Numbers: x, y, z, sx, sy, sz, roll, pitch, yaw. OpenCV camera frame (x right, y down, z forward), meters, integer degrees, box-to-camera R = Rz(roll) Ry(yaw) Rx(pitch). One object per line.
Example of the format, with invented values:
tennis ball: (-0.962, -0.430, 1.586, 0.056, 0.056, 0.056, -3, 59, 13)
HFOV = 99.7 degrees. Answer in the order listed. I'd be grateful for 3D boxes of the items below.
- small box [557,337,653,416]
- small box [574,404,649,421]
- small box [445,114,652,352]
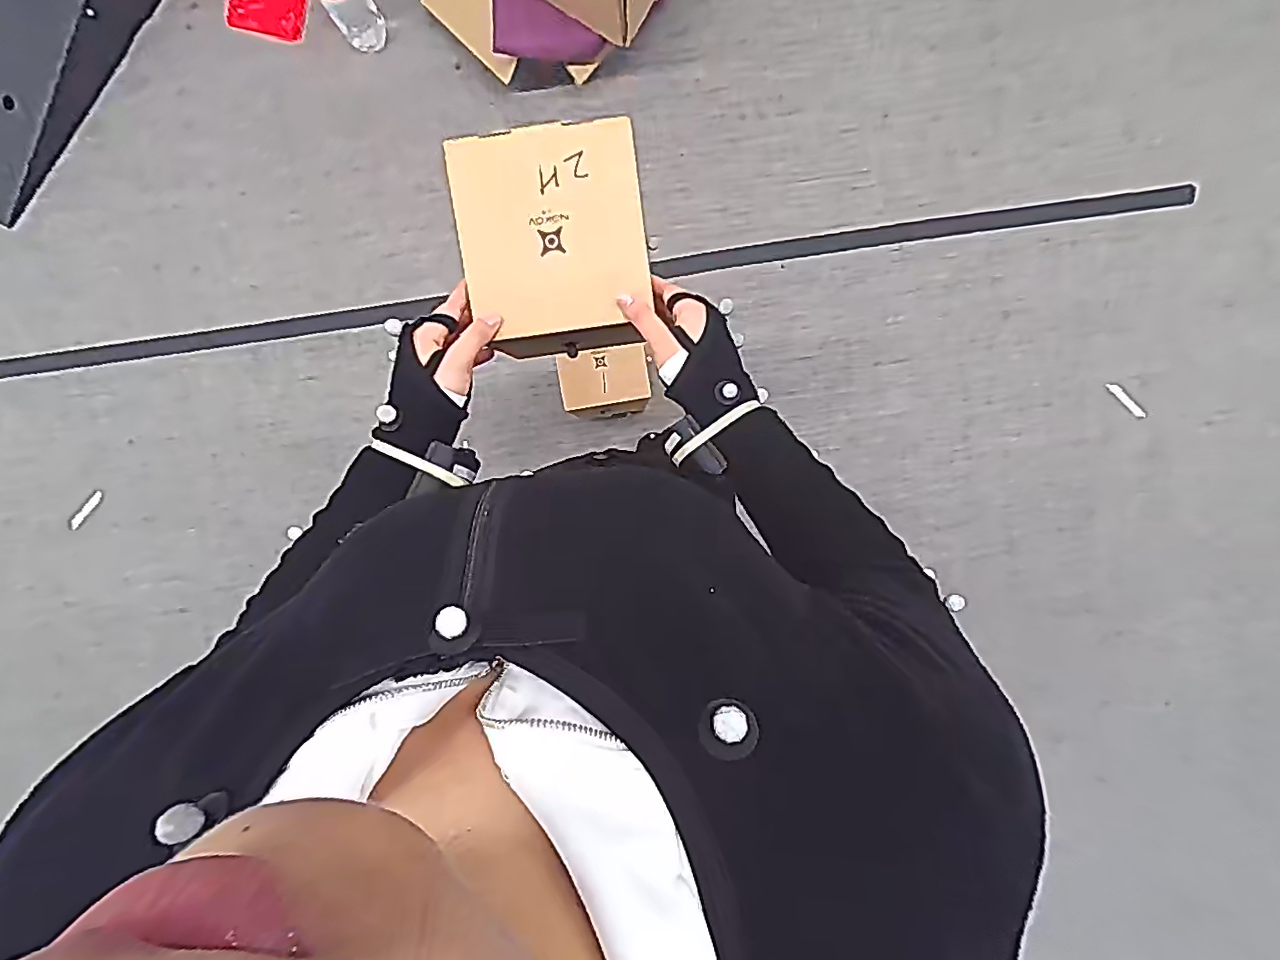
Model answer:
small box: (-0.070, -0.228, 1.069, 0.168, 0.176, 0.179, -9, 94, 1)
small box: (-0.074, -0.238, 1.234, 0.168, 0.176, 0.179, -9, 93, 1)
small box: (-0.078, -0.232, 0.558, 0.168, 0.176, 0.179, -8, 97, 1)
